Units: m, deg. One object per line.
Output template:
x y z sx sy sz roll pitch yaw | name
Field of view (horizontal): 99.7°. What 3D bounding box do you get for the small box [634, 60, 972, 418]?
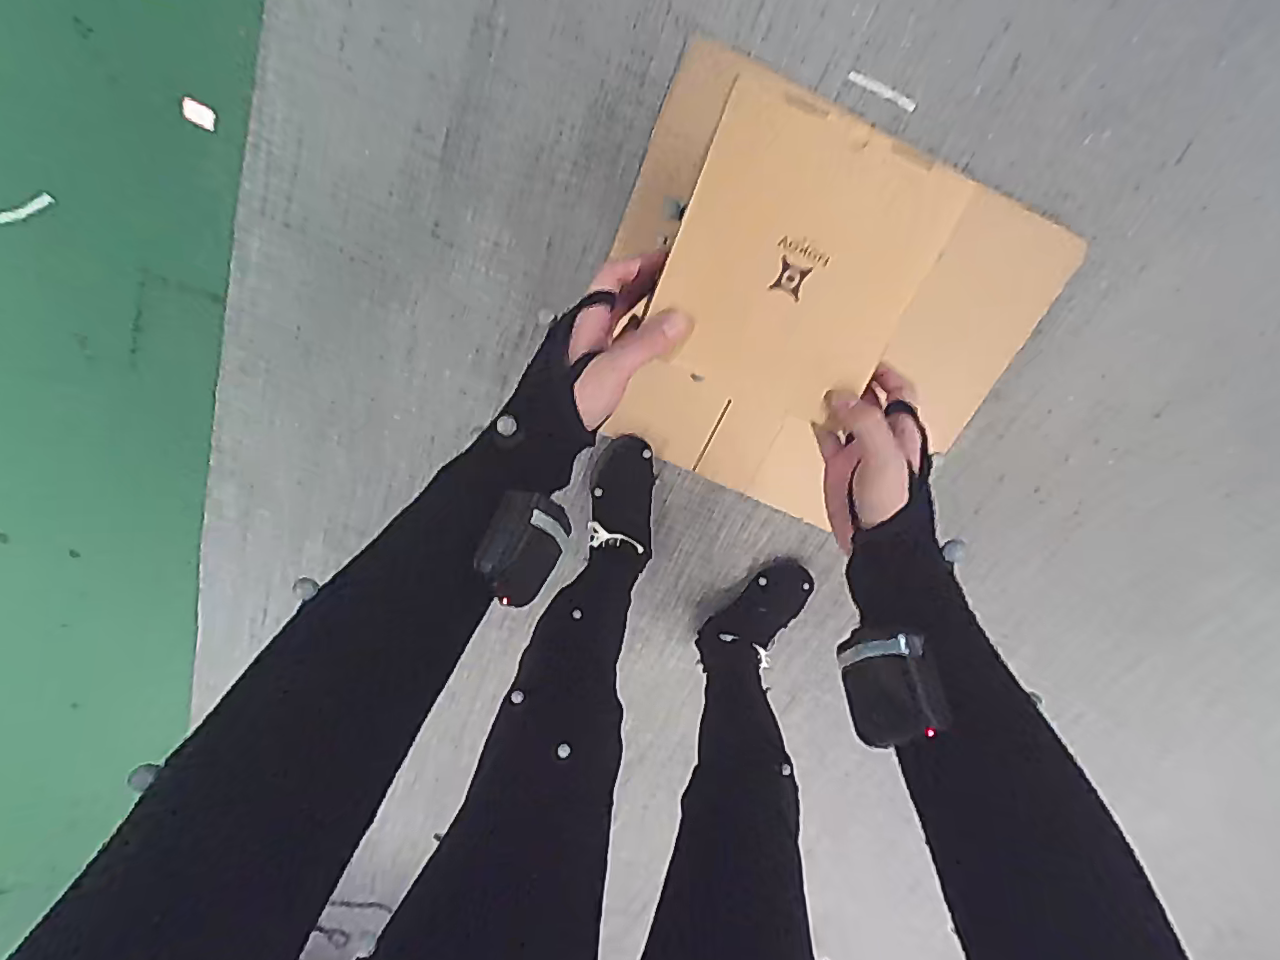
0.106 -0.176 0.430 0.168 0.176 0.179 20 111 -5 | small box
